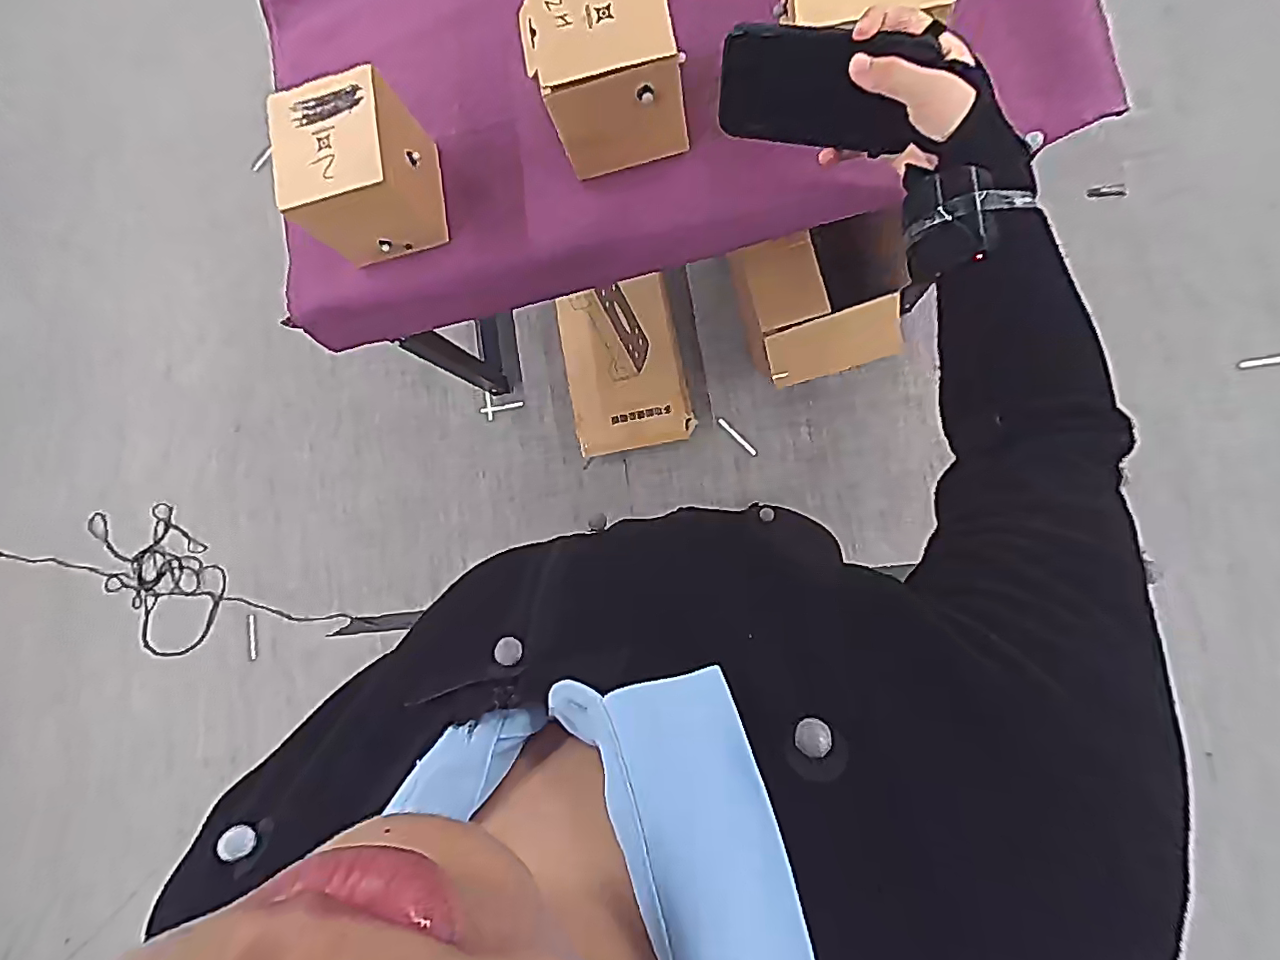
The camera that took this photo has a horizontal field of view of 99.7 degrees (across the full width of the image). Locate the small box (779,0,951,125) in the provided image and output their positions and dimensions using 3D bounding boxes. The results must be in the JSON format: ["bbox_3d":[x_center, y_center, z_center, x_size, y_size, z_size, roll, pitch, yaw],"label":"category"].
[{"bbox_3d":[0.274,-0.596,0.696,0.179,0.176,0.168,-3,85,9],"label":"small box"}]

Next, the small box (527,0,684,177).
[{"bbox_3d":[-0.038,-0.562,0.747,0.179,0.176,0.168,-11,81,9],"label":"small box"}]
